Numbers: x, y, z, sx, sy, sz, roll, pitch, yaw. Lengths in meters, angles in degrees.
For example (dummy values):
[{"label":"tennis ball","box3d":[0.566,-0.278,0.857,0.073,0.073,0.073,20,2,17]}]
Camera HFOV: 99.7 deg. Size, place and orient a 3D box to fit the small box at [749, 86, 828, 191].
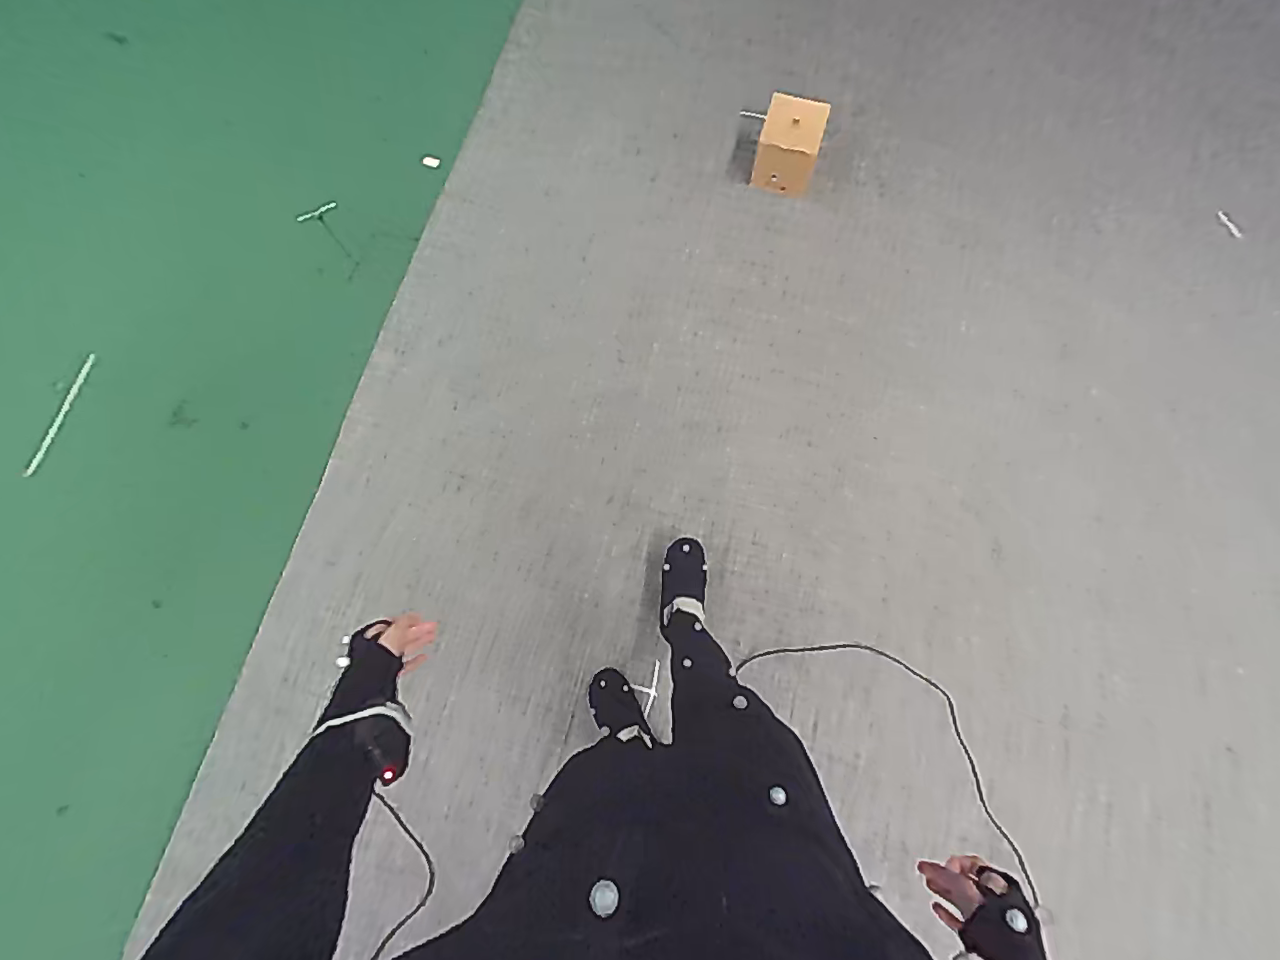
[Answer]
[{"label":"small box","box3d":[0.422,-0.983,1.567,0.168,0.176,0.179,16,79,5]}]
